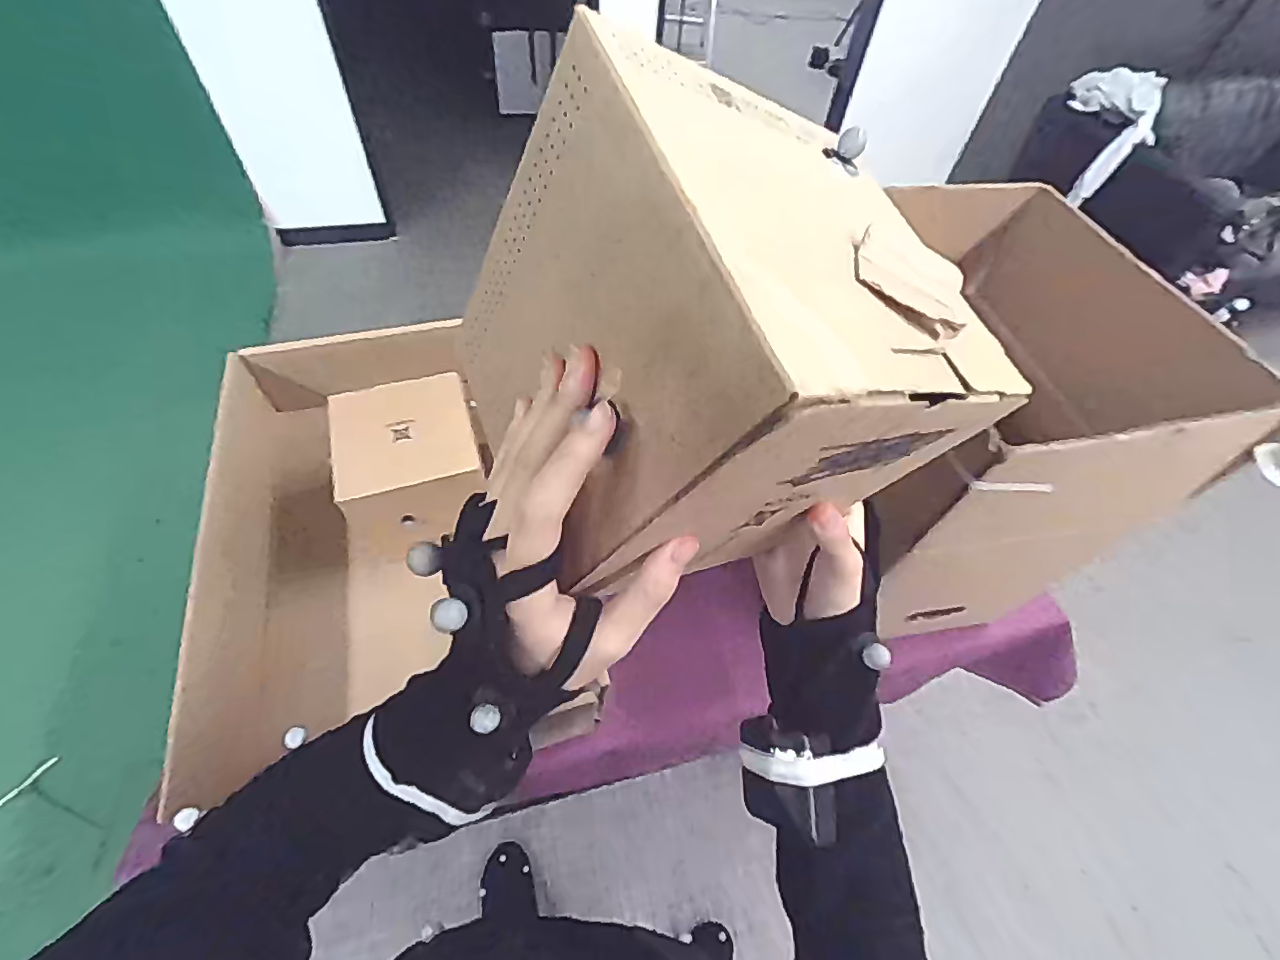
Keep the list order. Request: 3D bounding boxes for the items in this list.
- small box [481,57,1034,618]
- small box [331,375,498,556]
[{"bbox_3d":[0.035,-0.054,0.271,0.168,0.179,0.176,-7,66,-36],"label":"small box"},{"bbox_3d":[-0.304,-0.012,0.749,0.168,0.176,0.179,-15,58,-14],"label":"small box"}]
